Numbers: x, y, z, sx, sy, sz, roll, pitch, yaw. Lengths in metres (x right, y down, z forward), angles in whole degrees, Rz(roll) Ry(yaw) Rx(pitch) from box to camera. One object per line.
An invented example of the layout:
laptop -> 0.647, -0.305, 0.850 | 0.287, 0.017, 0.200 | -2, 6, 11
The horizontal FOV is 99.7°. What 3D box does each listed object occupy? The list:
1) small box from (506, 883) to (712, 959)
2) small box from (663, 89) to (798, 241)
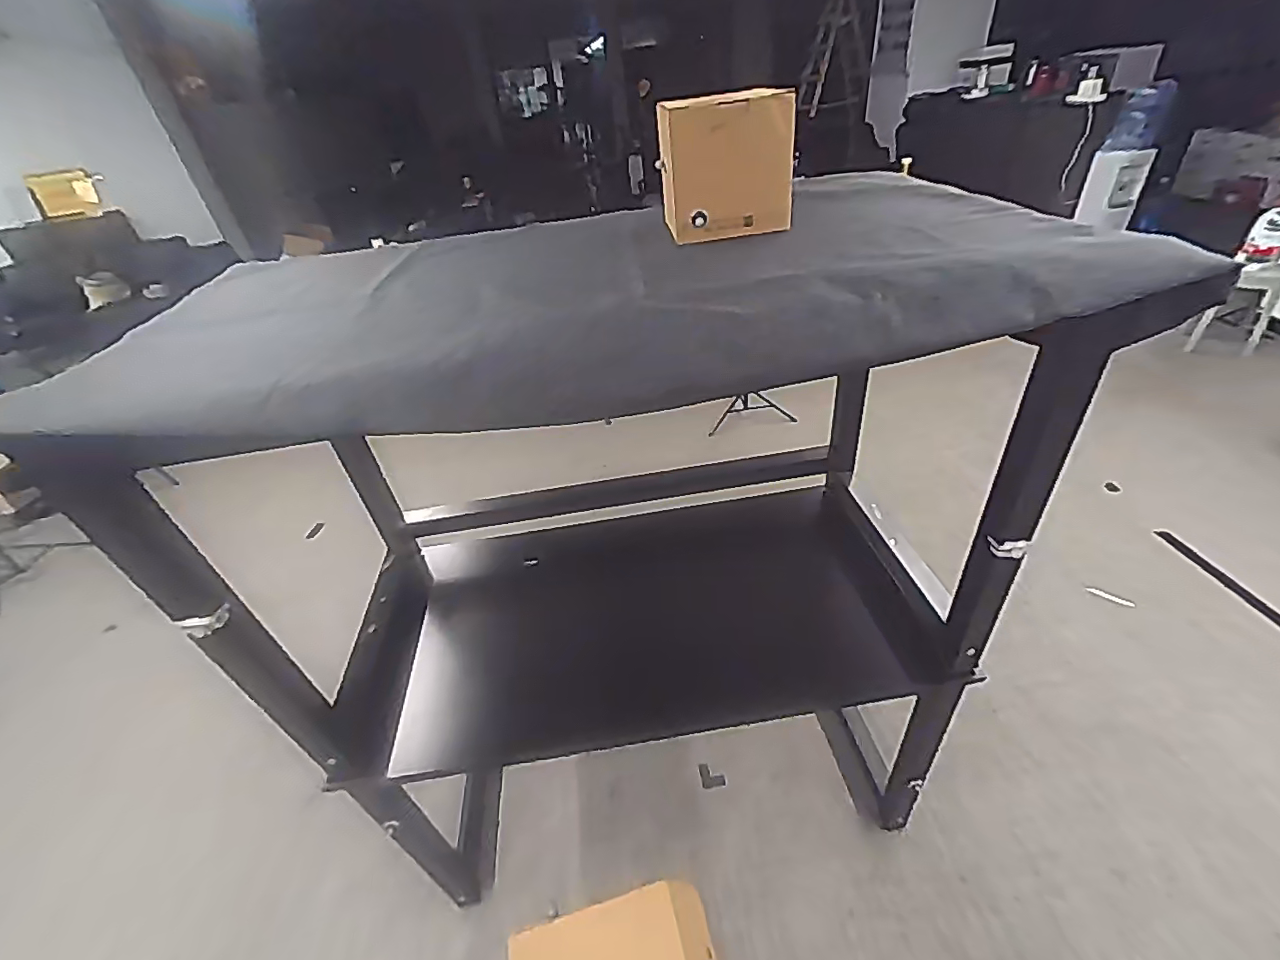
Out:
small box -> -0.013, 0.531, 0.543 | 0.179, 0.176, 0.168 | -22, 47, 2
small box -> 0.128, -0.463, 0.801 | 0.168, 0.176, 0.179 | -7, 36, 1
